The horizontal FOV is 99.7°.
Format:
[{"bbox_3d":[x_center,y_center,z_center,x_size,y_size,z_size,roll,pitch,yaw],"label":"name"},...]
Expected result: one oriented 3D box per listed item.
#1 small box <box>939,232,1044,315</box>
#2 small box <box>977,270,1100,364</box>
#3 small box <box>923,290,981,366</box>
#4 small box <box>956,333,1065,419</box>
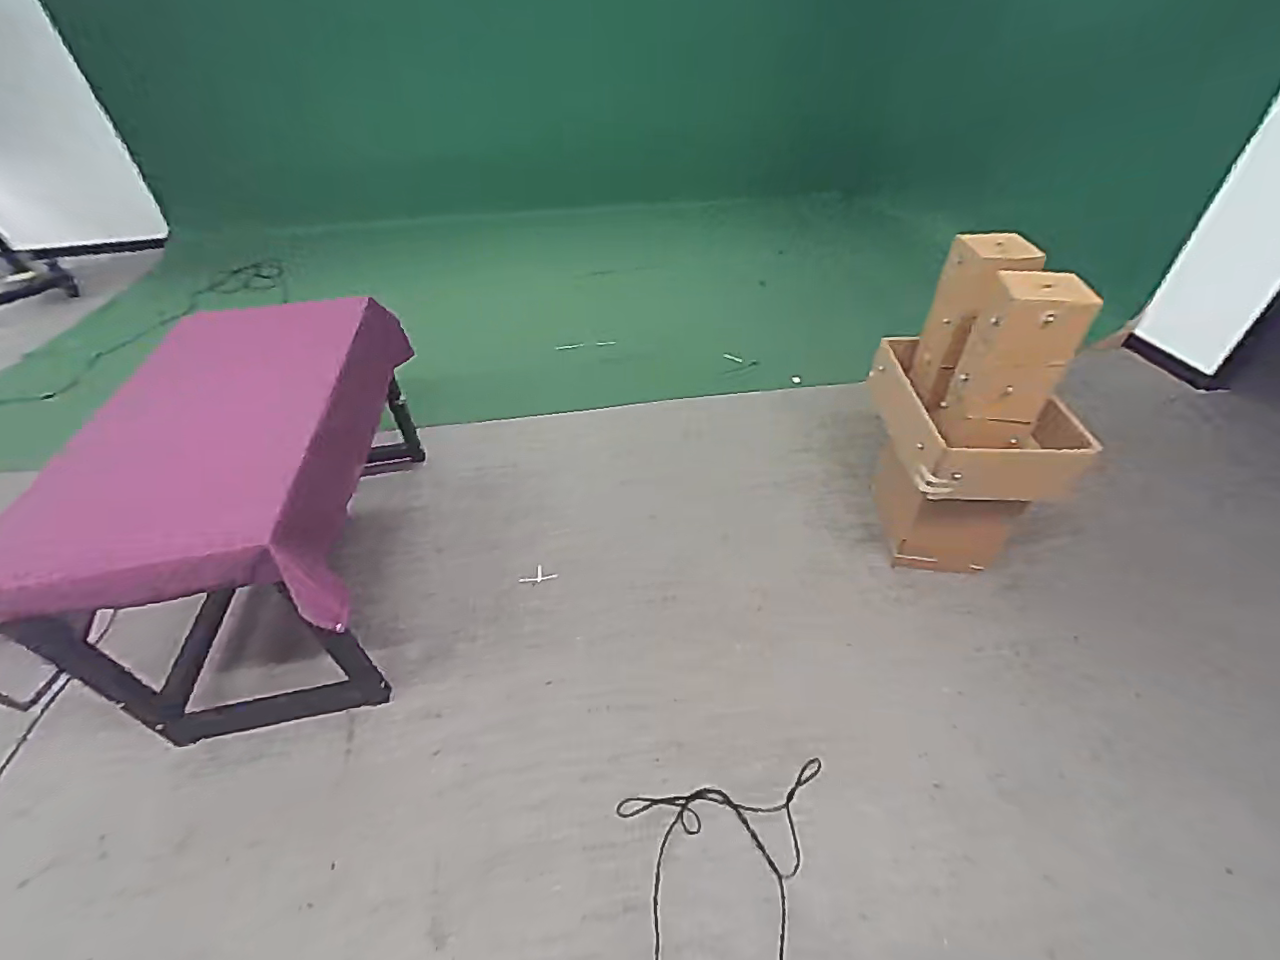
[{"bbox_3d":[0.977,-0.581,1.525,0.168,0.176,0.179,-2,43,3],"label":"small box"},{"bbox_3d":[0.953,-0.396,1.319,0.179,0.176,0.168,6,43,9],"label":"small box"},{"bbox_3d":[0.988,-0.461,1.638,0.168,0.176,0.179,-1,44,4],"label":"small box"},{"bbox_3d":[0.961,-0.274,1.428,0.179,0.176,0.168,4,43,9],"label":"small box"}]
